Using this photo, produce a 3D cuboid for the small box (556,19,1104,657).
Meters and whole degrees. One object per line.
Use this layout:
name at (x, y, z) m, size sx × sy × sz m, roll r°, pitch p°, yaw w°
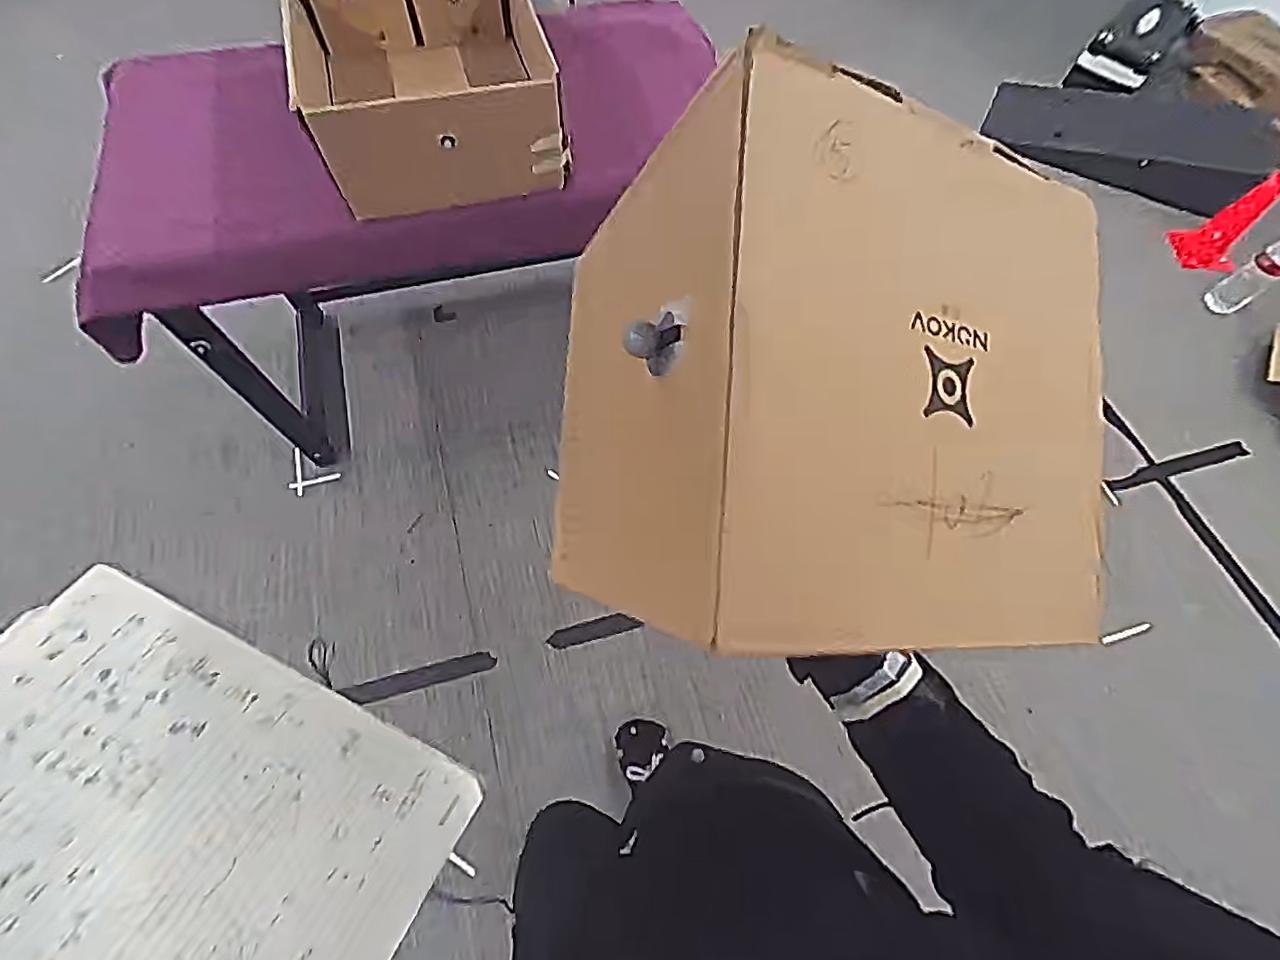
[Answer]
small box at (0.065, -0.030, 0.245) m, size 0.168 × 0.176 × 0.179 m, roll 6°, pitch 86°, yaw -23°
